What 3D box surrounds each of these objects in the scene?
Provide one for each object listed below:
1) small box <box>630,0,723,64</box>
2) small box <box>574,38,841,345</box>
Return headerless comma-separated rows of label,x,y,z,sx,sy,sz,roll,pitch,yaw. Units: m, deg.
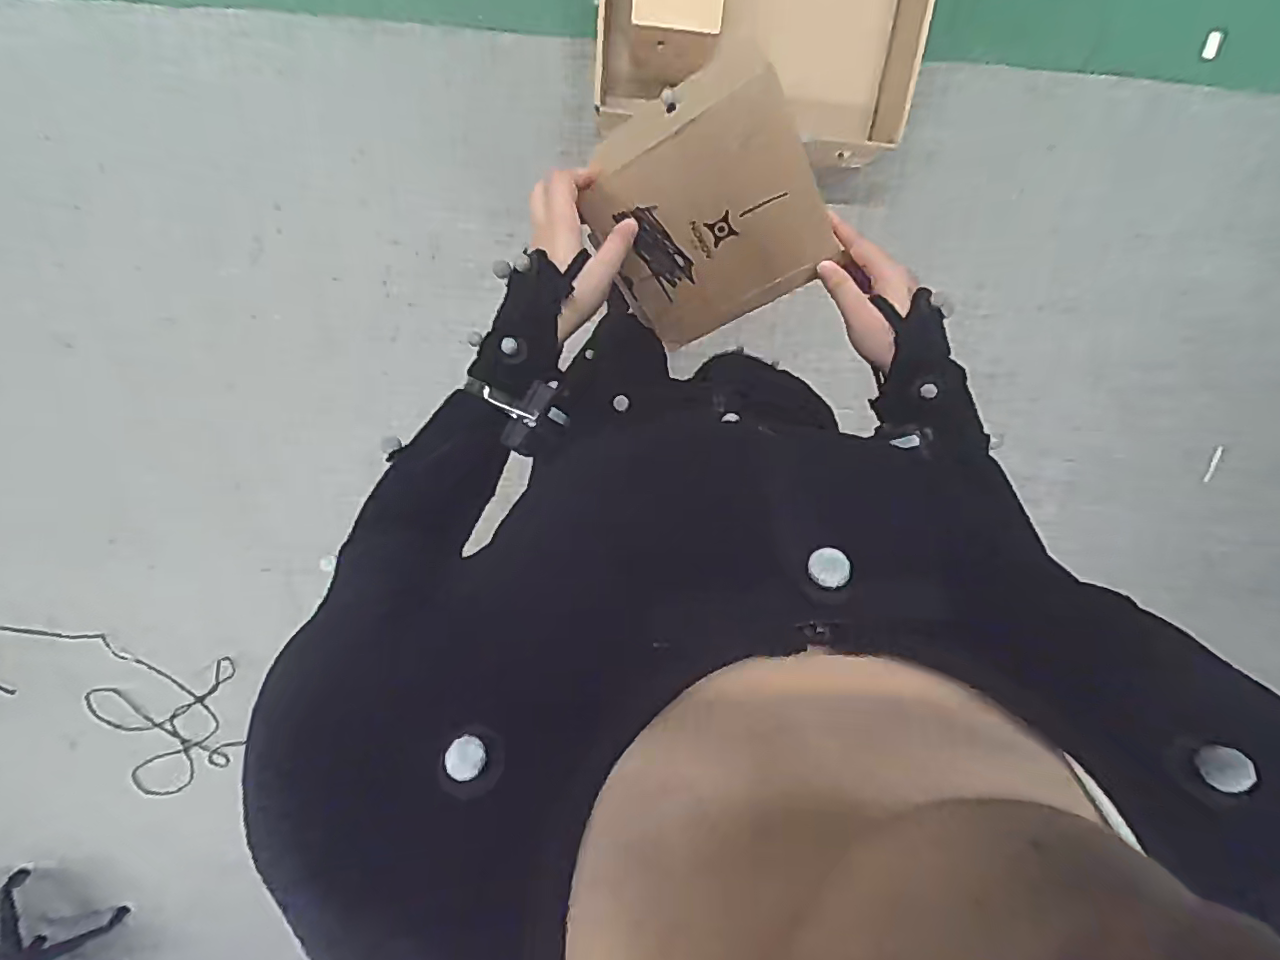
small box,0.069,-0.922,1.022,0.168,0.176,0.179,4,111,-3
small box,0.065,-0.265,0.506,0.179,0.176,0.168,-21,130,24
